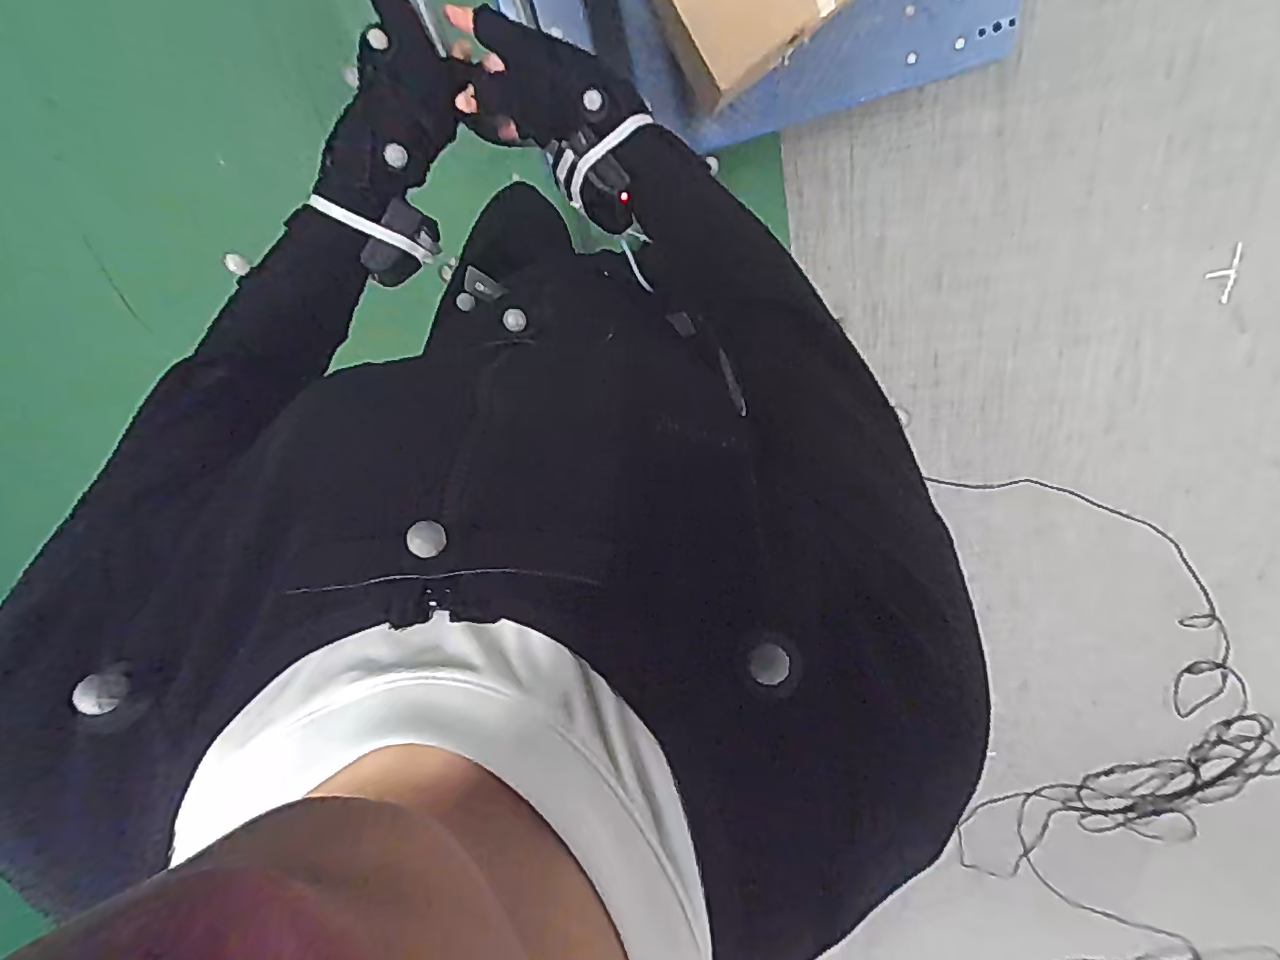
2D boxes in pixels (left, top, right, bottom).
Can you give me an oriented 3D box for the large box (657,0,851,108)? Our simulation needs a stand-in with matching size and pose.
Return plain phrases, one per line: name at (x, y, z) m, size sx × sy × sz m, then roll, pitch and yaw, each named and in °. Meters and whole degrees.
large box at (0.139, -0.832, 0.756) m, size 0.320 × 0.320 × 0.408 m, roll -31°, pitch 111°, yaw 18°
